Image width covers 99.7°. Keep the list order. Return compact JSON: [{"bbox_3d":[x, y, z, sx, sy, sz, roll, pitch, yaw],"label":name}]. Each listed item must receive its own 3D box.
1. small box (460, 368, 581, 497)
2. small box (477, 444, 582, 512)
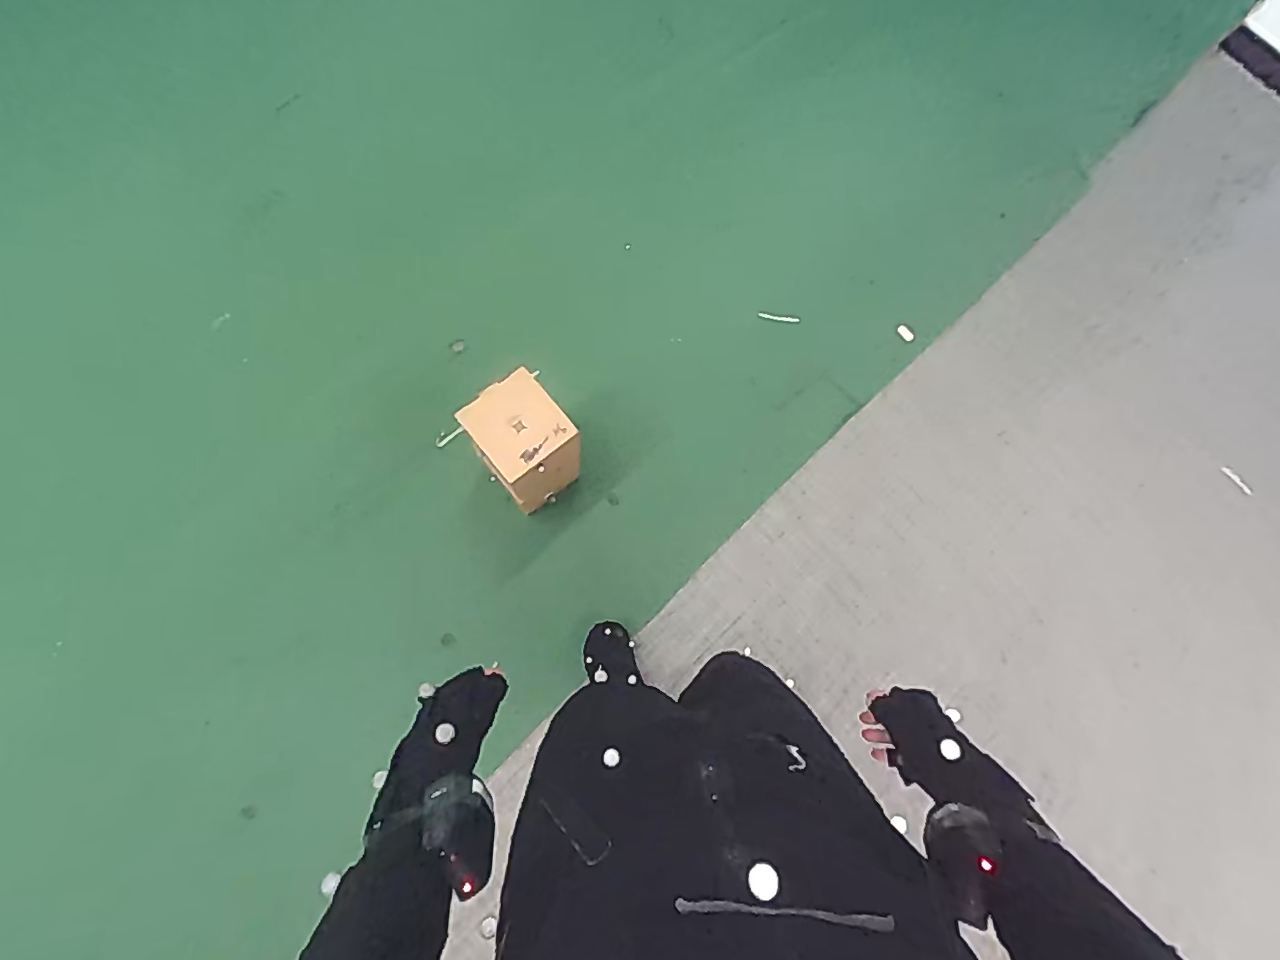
[{"bbox_3d":[-0.237,-0.089,1.108,0.168,0.176,0.179,-39,83,-13],"label":"small box"},{"bbox_3d":[-0.253,-0.045,1.266,0.168,0.176,0.179,-40,85,-13],"label":"small box"}]
